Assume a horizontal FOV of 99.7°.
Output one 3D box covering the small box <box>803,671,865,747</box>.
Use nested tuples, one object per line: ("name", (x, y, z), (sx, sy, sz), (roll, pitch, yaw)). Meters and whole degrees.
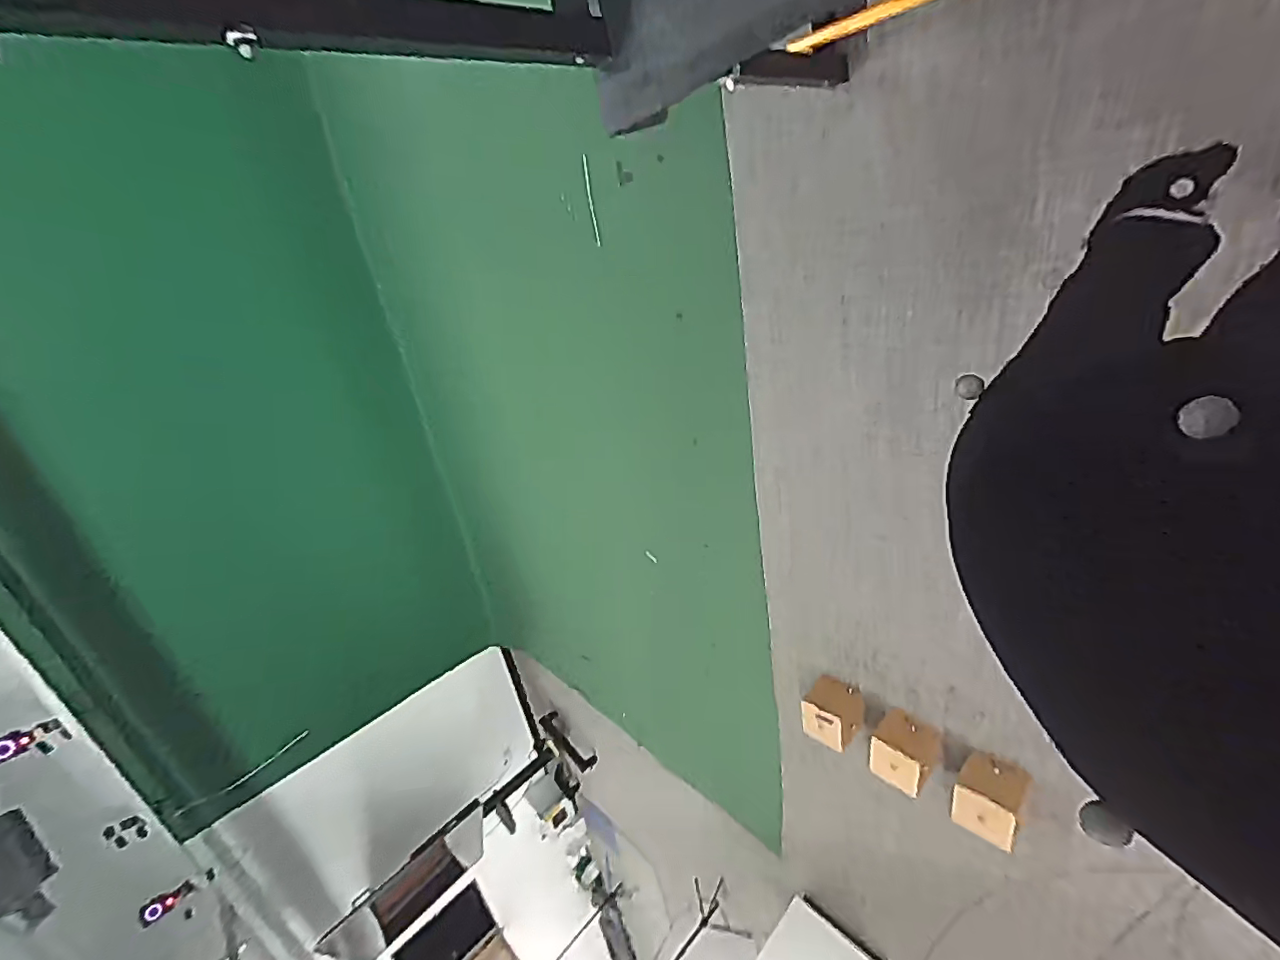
("small box", (0.753, 0.878, 2.091), (0.168, 0.176, 0.179), (15, 124, 47))

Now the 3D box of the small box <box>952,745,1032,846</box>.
("small box", (1.111, 0.988, 1.706), (0.168, 0.176, 0.179), (16, 124, 45))

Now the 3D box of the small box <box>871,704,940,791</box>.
("small box", (0.933, 0.933, 1.900), (0.168, 0.176, 0.179), (19, 126, 45))
